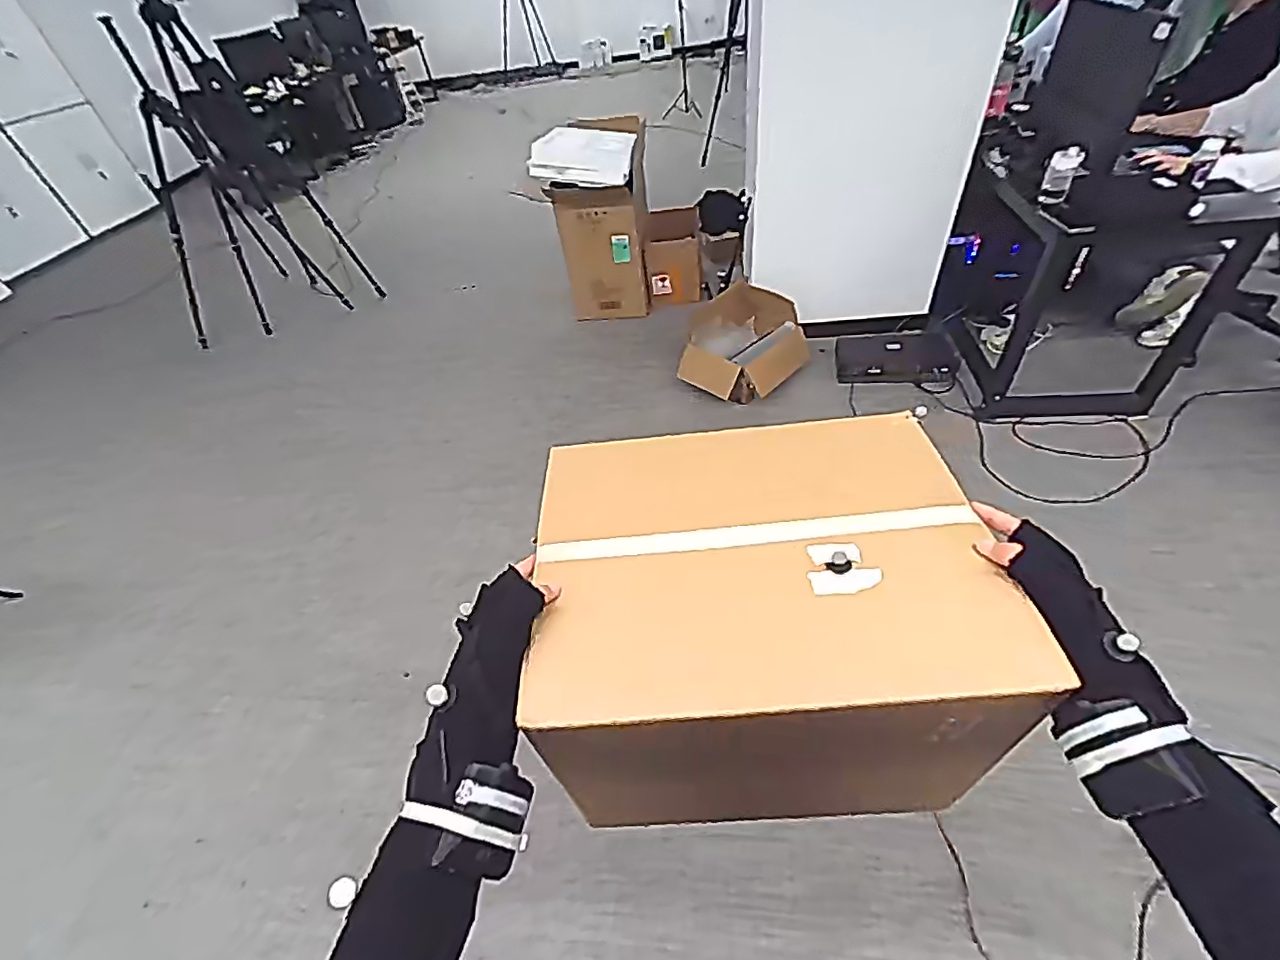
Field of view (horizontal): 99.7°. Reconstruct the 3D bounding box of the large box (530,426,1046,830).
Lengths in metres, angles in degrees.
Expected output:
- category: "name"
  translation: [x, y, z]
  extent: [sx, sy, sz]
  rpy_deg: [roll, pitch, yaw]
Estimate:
- category: "large box"
  translation: [0.117, 0.171, 0.619]
  extent: [0.408, 0.320, 0.320]
  rpy_deg: [-6, 45, 3]
